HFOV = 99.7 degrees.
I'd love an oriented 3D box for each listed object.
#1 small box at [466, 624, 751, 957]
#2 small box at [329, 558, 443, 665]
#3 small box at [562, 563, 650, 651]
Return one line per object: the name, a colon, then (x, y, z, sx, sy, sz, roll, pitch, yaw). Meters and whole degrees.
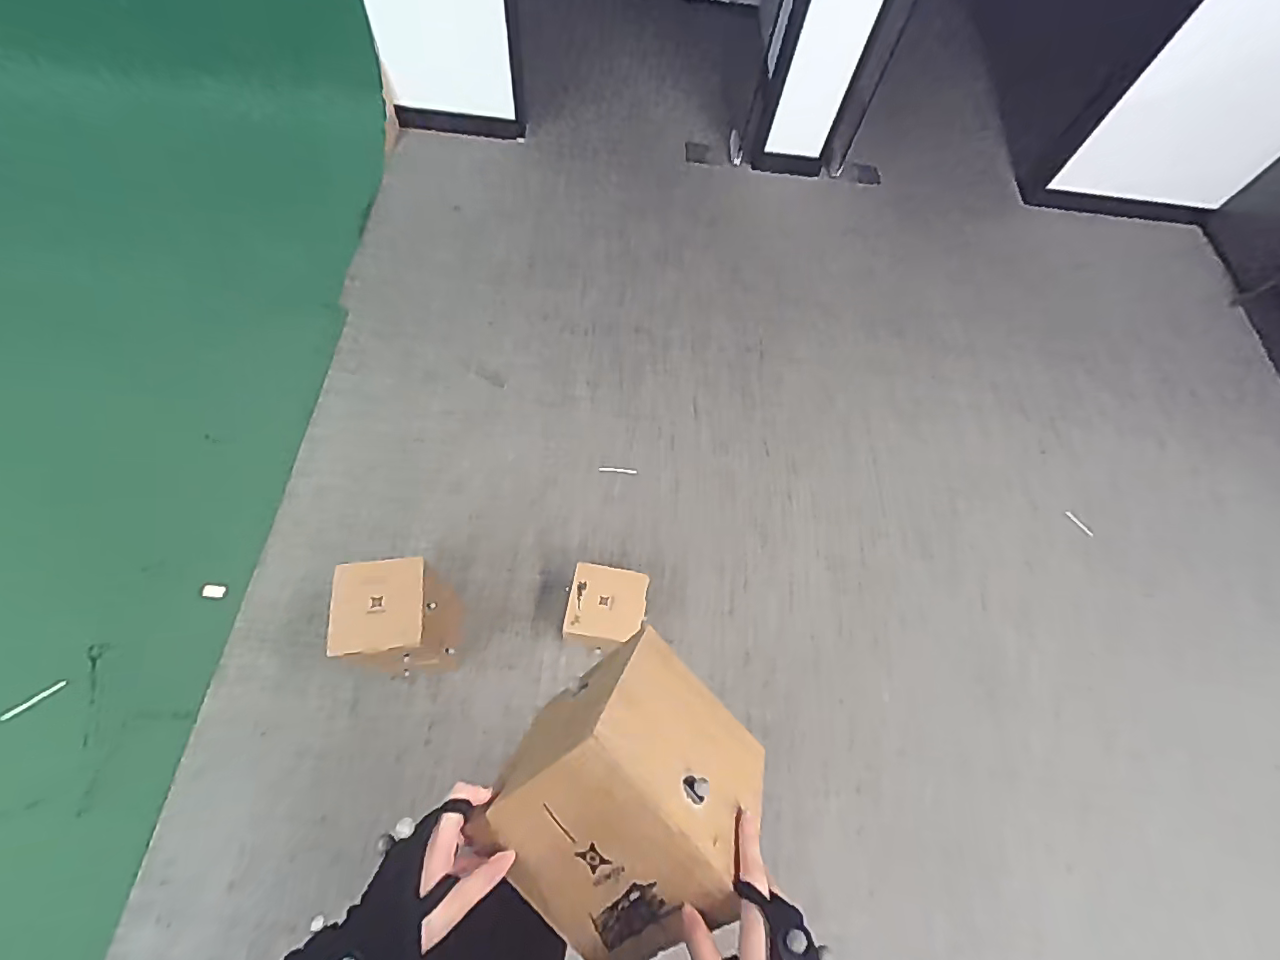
small box: (-0.014, 0.271, 0.503, 0.168, 0.176, 0.179, -43, 88, 20)
small box: (-0.503, 0.272, 1.095, 0.168, 0.176, 0.179, -4, 64, -9)
small box: (-0.084, 0.316, 1.305, 0.179, 0.176, 0.168, 12, 63, -1)
